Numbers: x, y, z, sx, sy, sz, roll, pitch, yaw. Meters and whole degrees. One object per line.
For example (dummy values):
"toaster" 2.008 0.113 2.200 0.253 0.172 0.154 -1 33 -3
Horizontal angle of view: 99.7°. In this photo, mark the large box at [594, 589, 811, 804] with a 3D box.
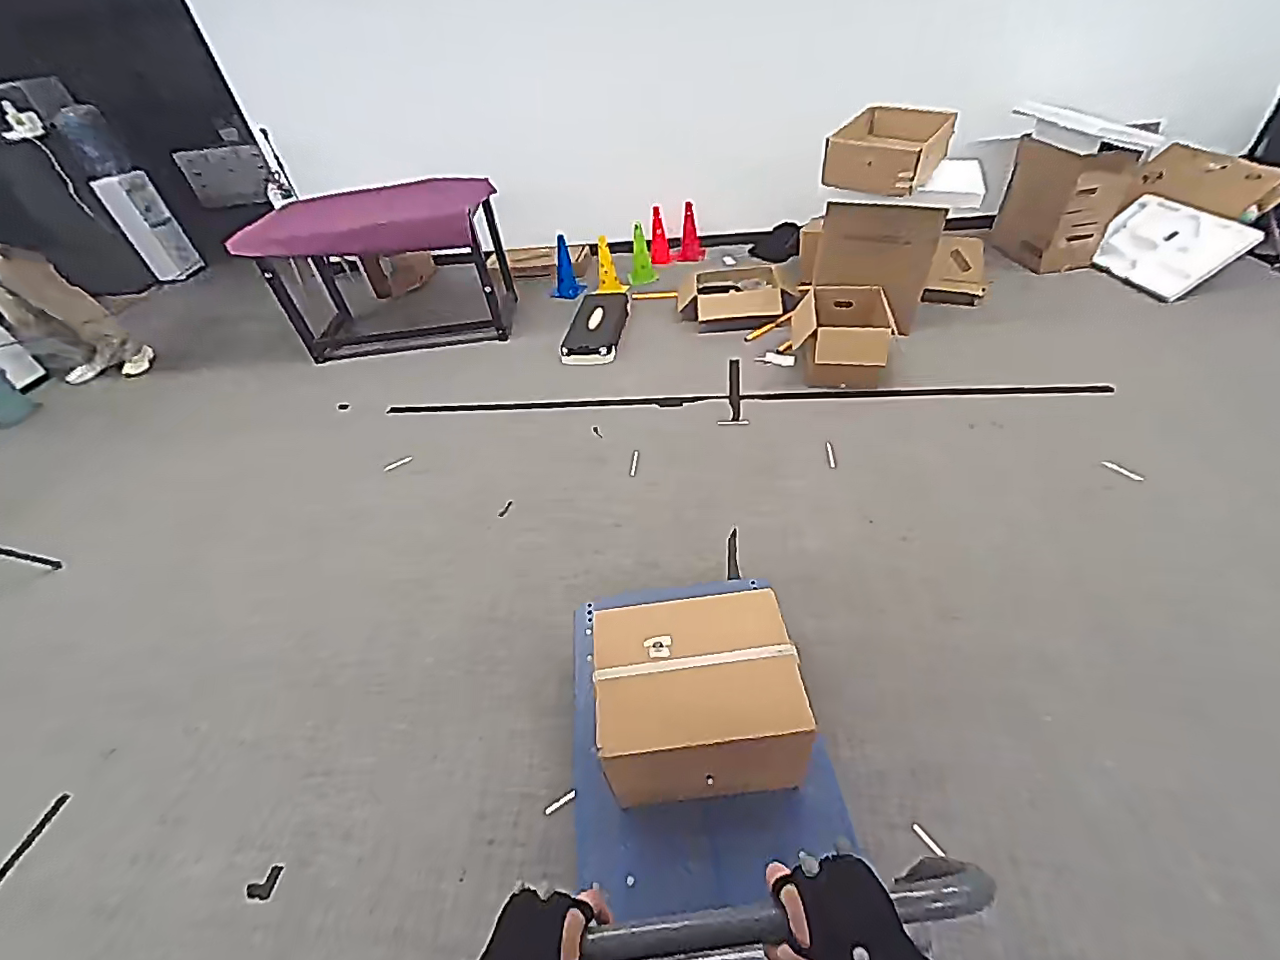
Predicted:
"large box" 0.127 0.485 1.207 0.408 0.320 0.320 -9 42 1
